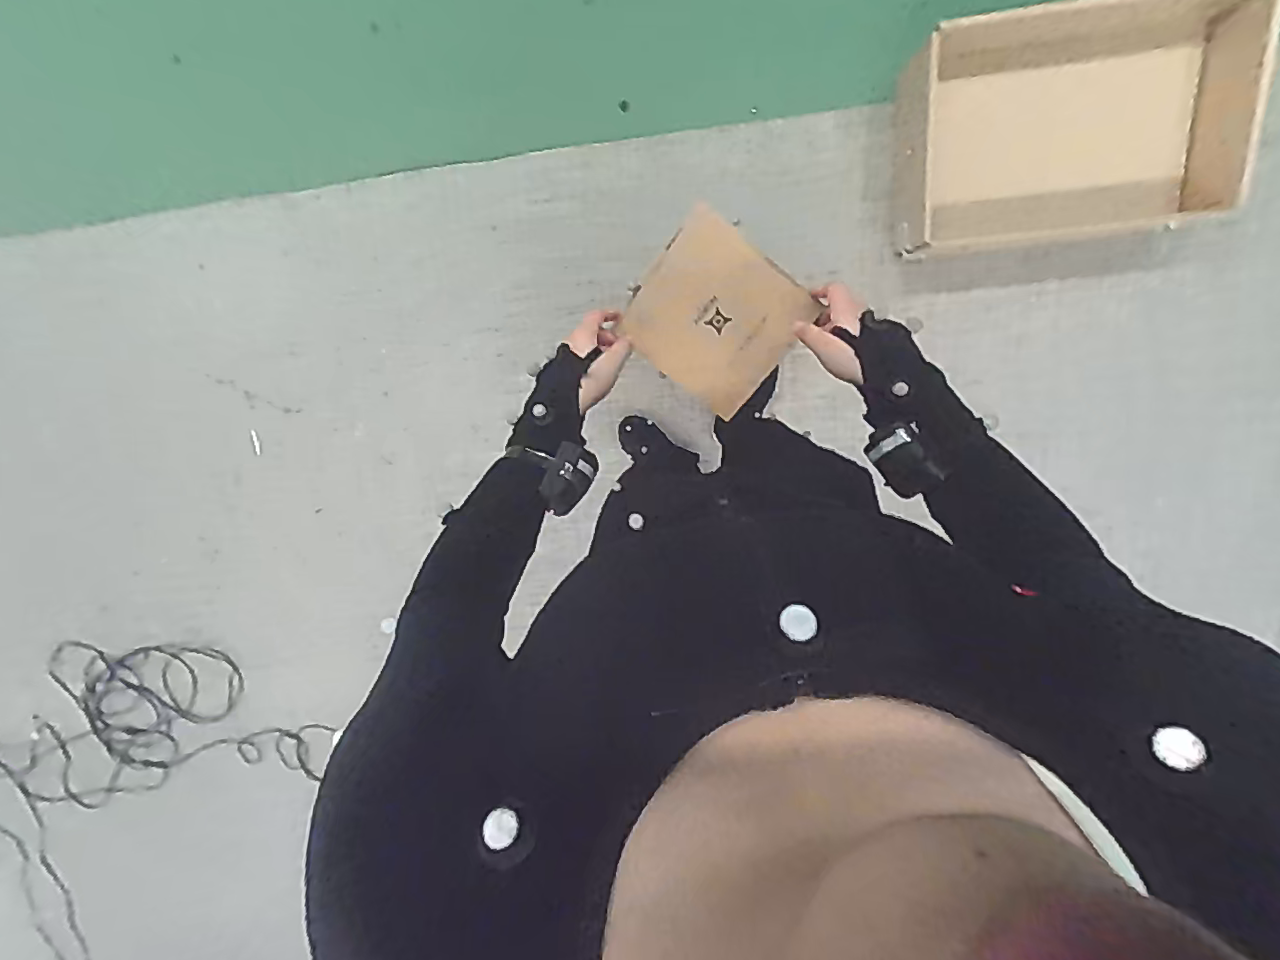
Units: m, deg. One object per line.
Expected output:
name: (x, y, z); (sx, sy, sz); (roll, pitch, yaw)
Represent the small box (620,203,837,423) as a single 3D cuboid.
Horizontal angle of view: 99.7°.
small box: (0.097, -0.203, 0.655); (0.179, 0.176, 0.168); (34, 113, -12)
